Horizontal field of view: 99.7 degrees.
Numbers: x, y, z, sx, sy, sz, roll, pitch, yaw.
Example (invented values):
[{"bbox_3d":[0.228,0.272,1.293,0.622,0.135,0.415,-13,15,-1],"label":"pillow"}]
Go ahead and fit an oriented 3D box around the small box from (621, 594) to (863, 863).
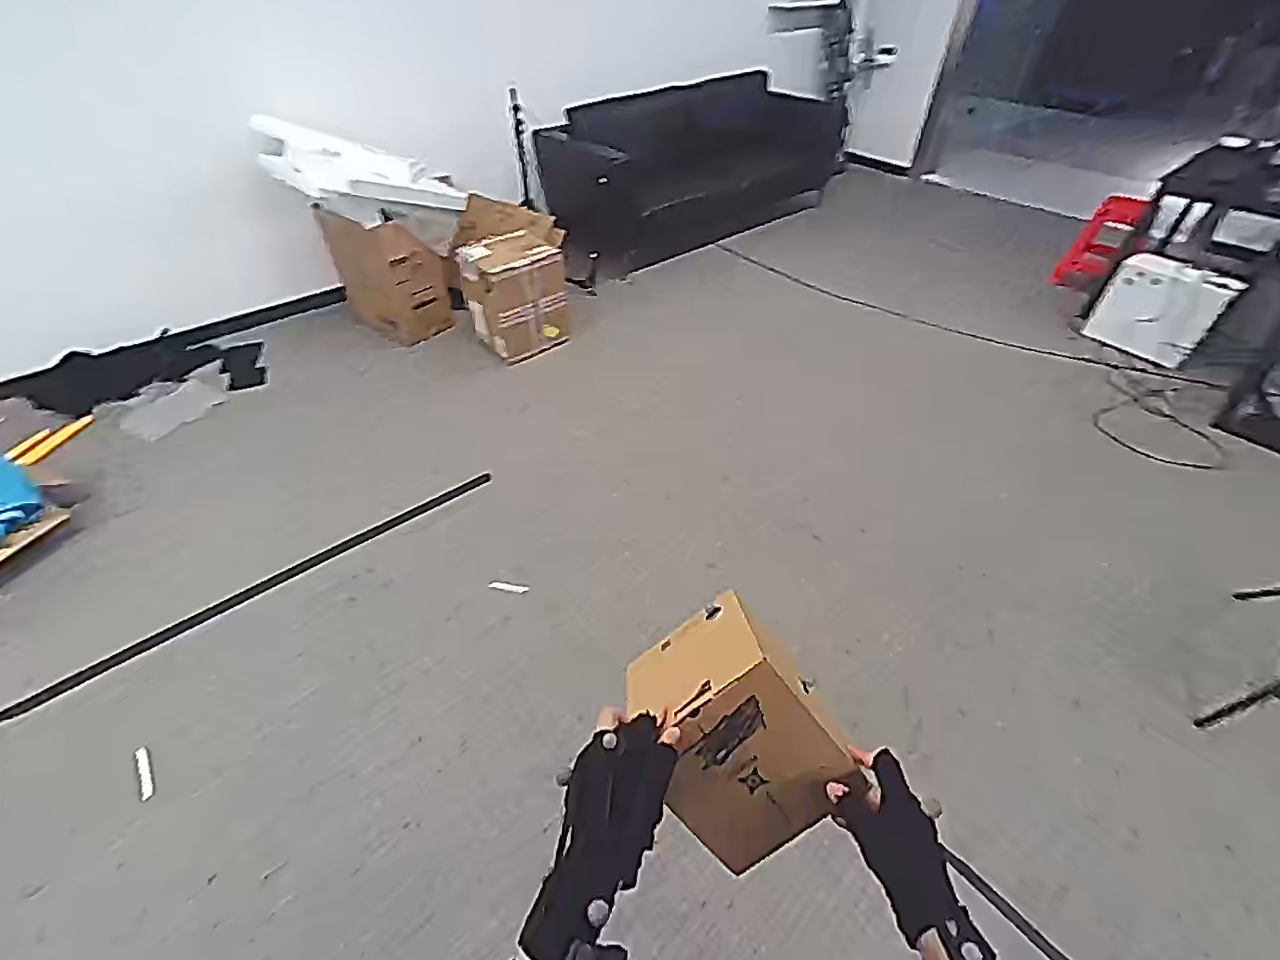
[{"bbox_3d":[0.095,0.247,0.587,0.168,0.179,0.176,-40,9,7],"label":"small box"}]
